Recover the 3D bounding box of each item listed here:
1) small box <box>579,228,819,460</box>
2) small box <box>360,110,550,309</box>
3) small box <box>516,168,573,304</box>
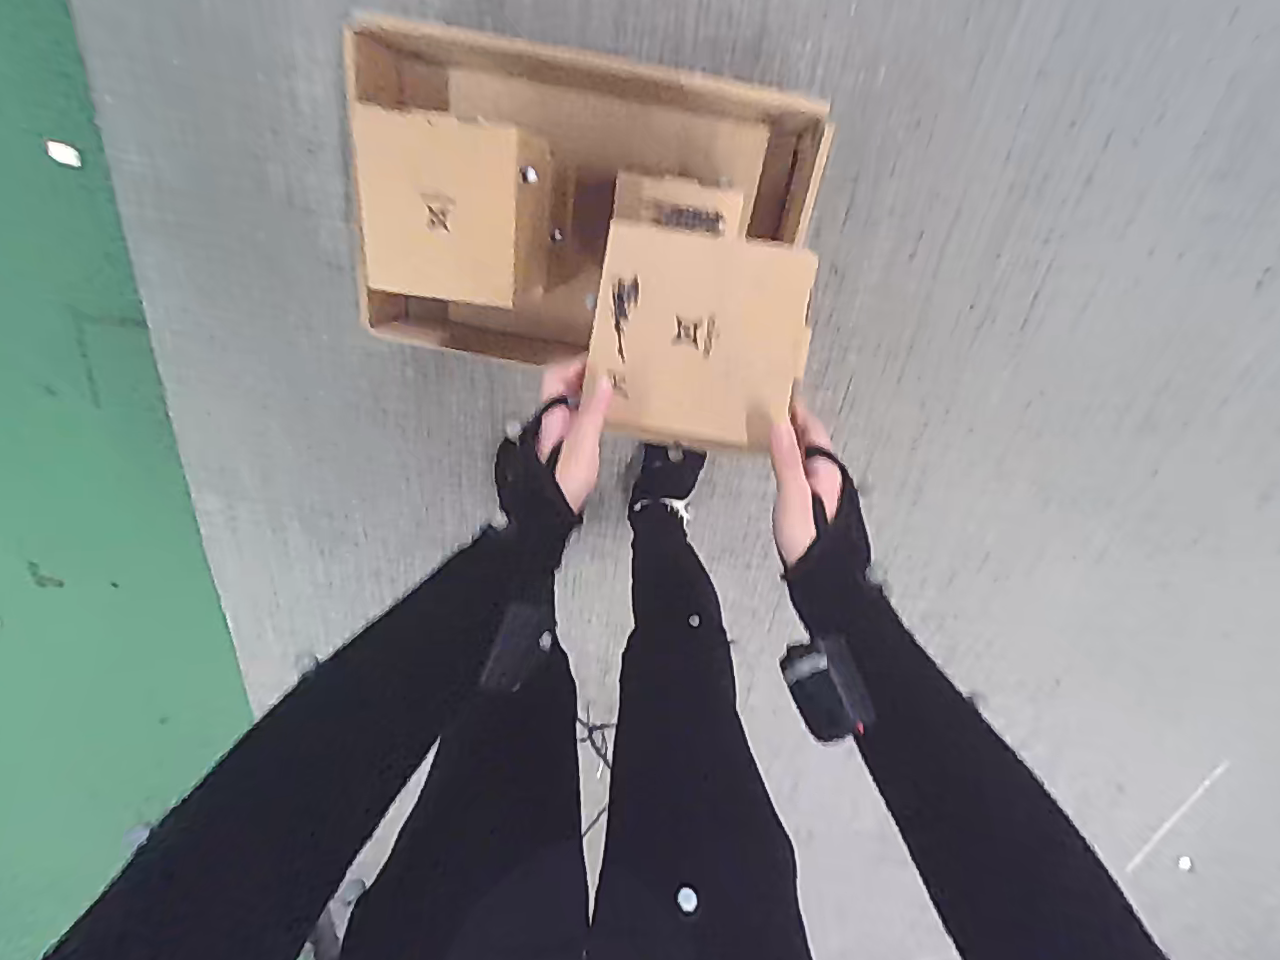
[{"bbox_3d":[0.051,-0.114,0.524,0.179,0.176,0.168,10,89,3],"label":"small box"},{"bbox_3d":[-0.207,-0.318,0.652,0.168,0.176,0.179,8,115,-1],"label":"small box"},{"bbox_3d":[-0.198,-0.375,0.804,0.168,0.176,0.179,8,116,-1],"label":"small box"}]
